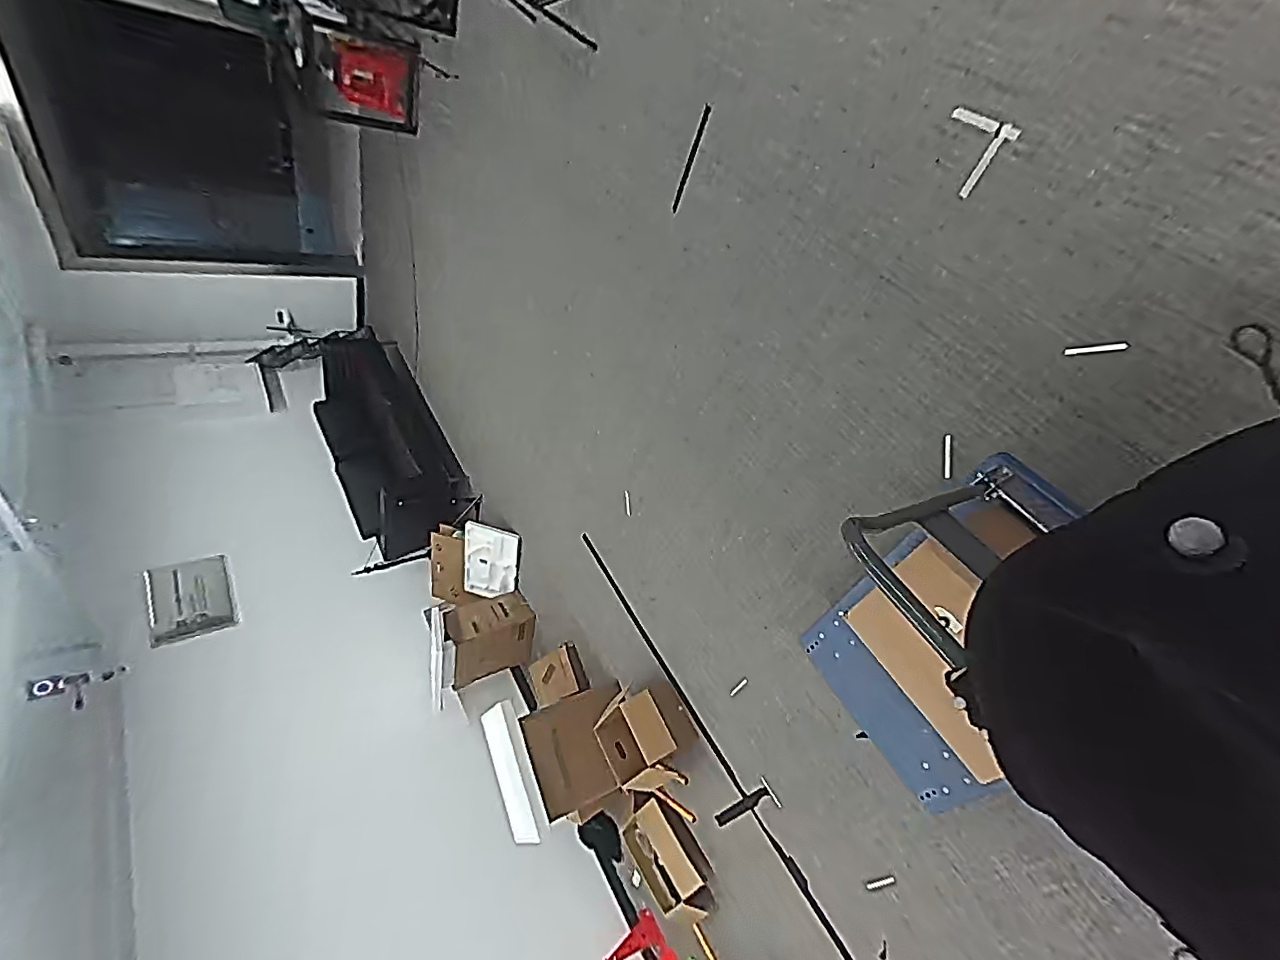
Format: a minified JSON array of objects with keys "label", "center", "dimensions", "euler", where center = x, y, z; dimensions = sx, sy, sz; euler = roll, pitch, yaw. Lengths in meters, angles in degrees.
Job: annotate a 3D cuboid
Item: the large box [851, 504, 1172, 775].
[{"label":"large box","center":[0.758,0.316,1.144],"dimensions":[0.408,0.320,0.320],"euler":[55,138,30]}]
